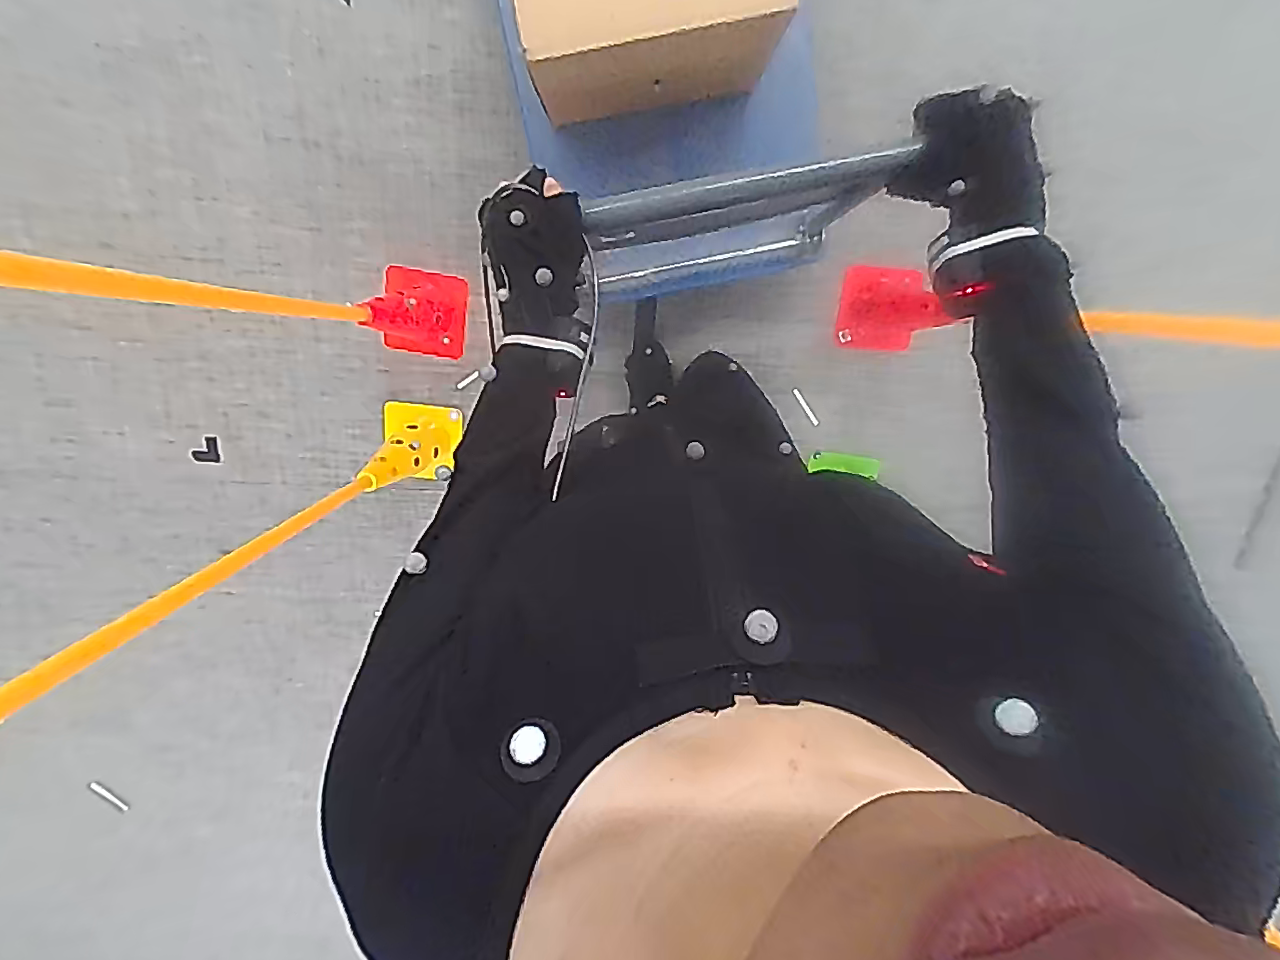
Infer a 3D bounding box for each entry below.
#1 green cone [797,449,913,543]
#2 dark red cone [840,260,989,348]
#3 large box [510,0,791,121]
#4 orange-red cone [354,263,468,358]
[{"bbox_3d":[0.560,0.070,1.344,0.202,0.368,0.200,6,107,-6],"label":"green cone"},{"bbox_3d":[0.613,-0.386,1.185,0.201,0.394,0.202,2,108,-5],"label":"dark red cone"},{"bbox_3d":[-0.002,-0.837,0.880,0.408,0.320,0.320,-9,108,3],"label":"large box"},{"bbox_3d":[-0.521,-0.365,1.164,0.198,0.360,0.199,10,105,-6],"label":"orange-red cone"}]
